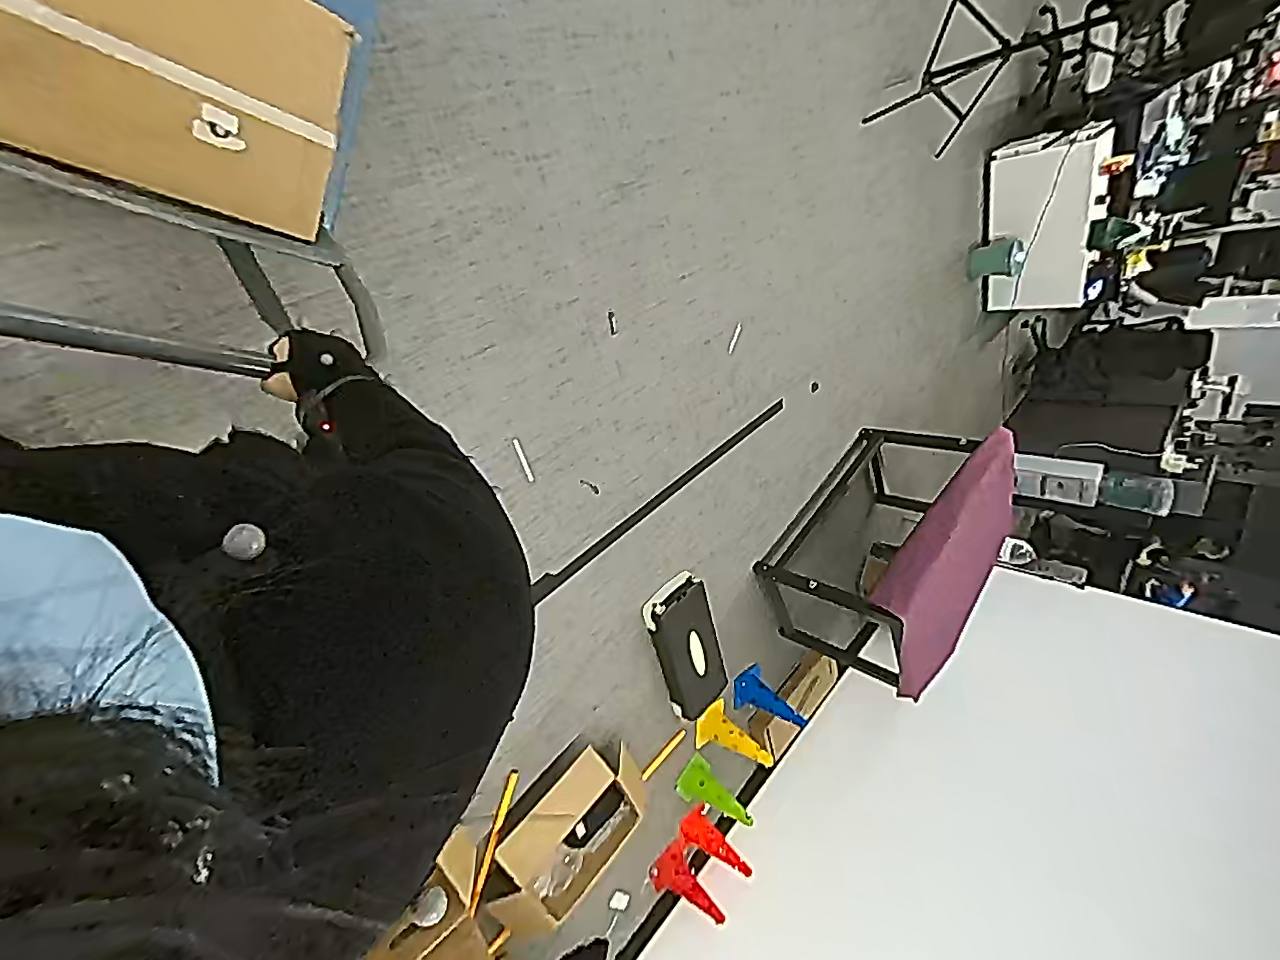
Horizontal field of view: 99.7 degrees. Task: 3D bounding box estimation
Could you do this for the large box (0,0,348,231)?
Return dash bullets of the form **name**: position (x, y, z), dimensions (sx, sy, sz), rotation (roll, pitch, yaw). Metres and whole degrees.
- **large box**: position (-0.715, -0.624, 0.797), dimensions (0.408, 0.320, 0.320), rotation (6, 118, -45)
